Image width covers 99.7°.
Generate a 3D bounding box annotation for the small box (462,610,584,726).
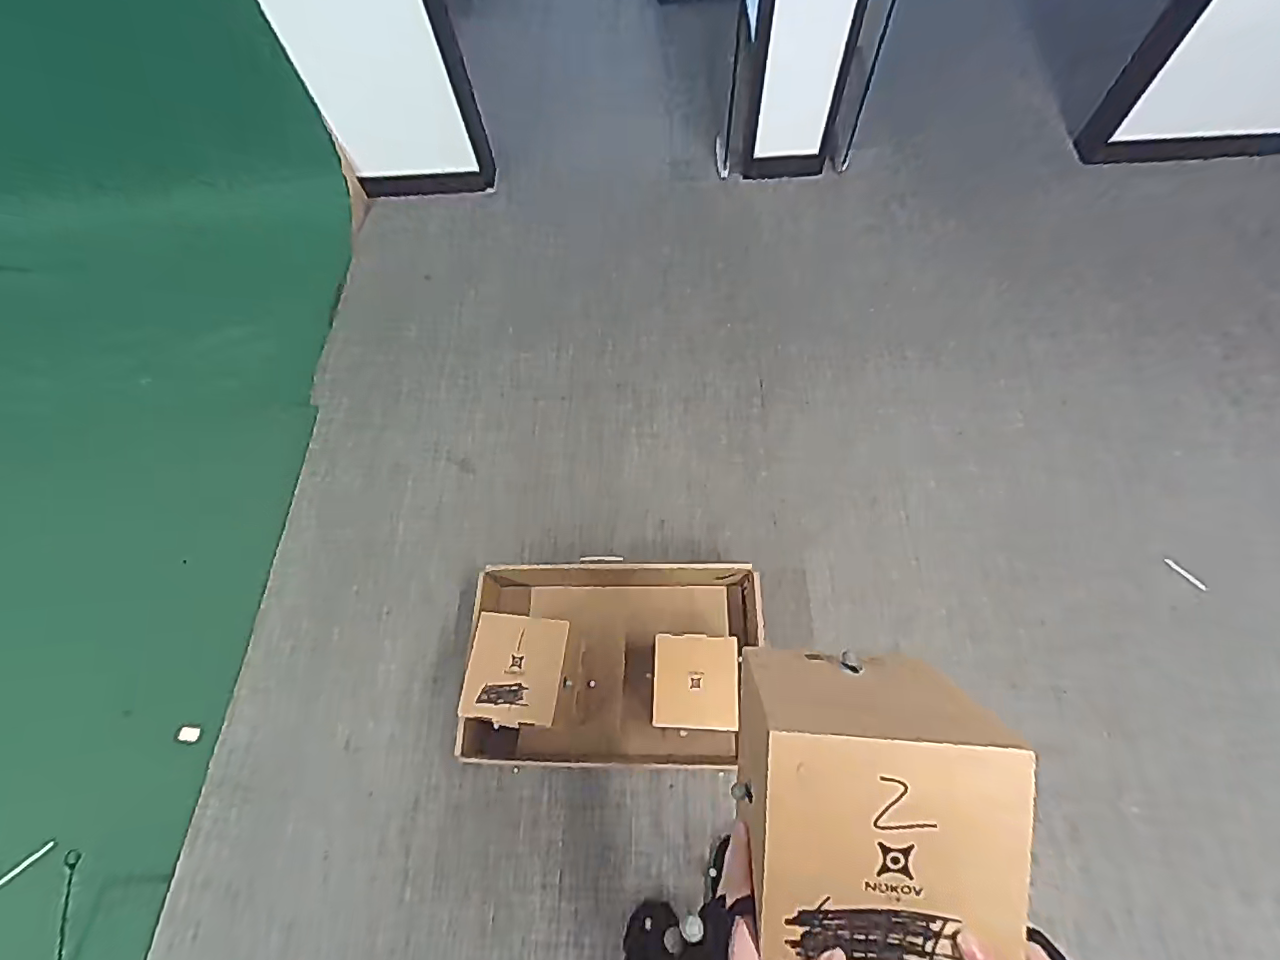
[{"bbox_3d":[-0.204,0.354,1.003,0.168,0.176,0.179,5,65,5],"label":"small box"}]
